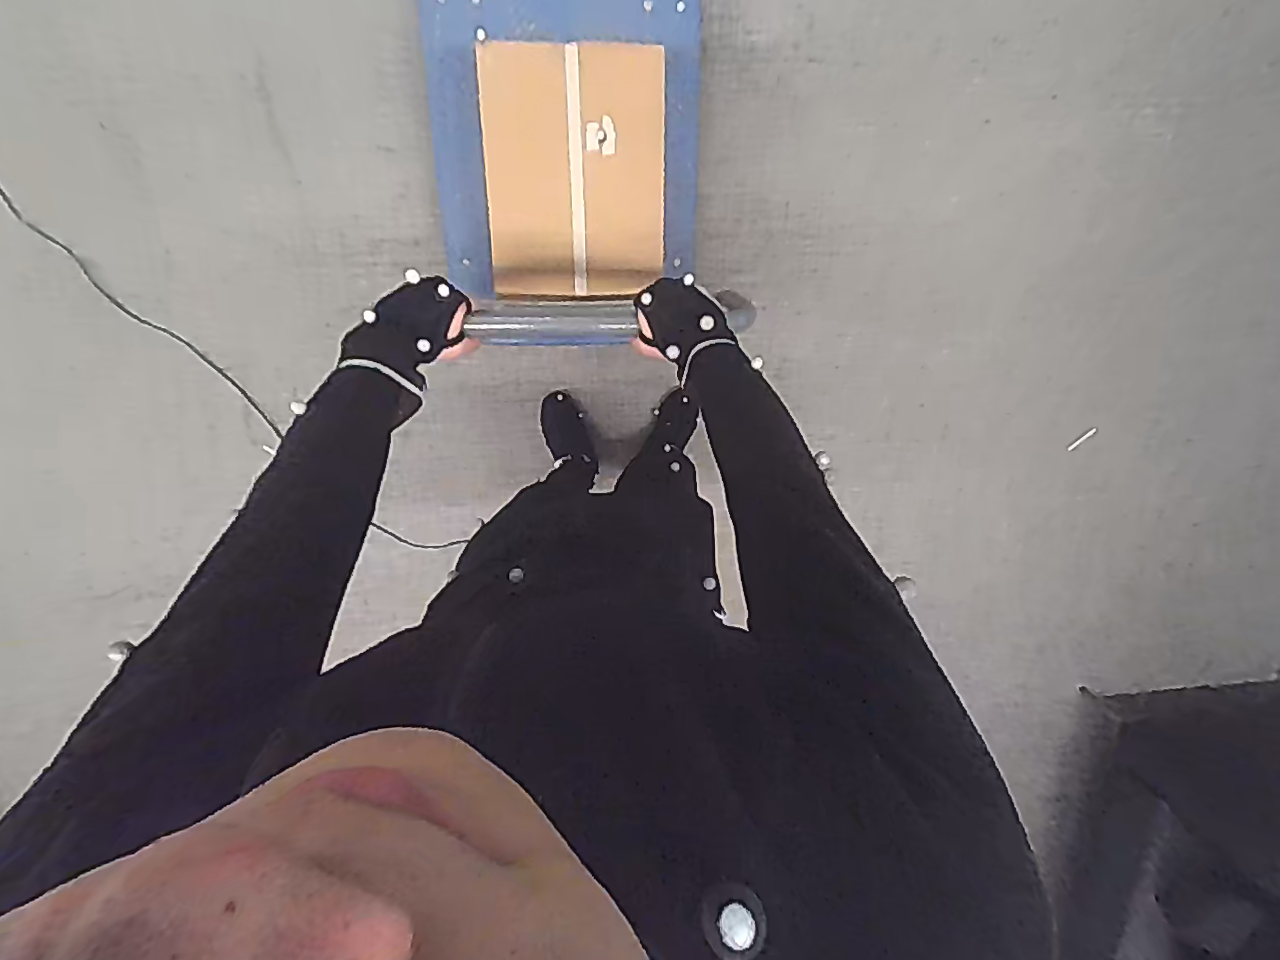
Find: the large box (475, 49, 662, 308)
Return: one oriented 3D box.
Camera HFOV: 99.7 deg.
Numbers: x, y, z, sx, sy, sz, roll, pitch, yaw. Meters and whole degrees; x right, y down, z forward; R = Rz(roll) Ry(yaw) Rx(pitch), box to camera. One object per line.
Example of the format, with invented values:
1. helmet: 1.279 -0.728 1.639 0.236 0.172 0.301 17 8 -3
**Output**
1. large box: -0.129 -0.566 1.099 0.320 0.320 0.408 -2 106 -6
